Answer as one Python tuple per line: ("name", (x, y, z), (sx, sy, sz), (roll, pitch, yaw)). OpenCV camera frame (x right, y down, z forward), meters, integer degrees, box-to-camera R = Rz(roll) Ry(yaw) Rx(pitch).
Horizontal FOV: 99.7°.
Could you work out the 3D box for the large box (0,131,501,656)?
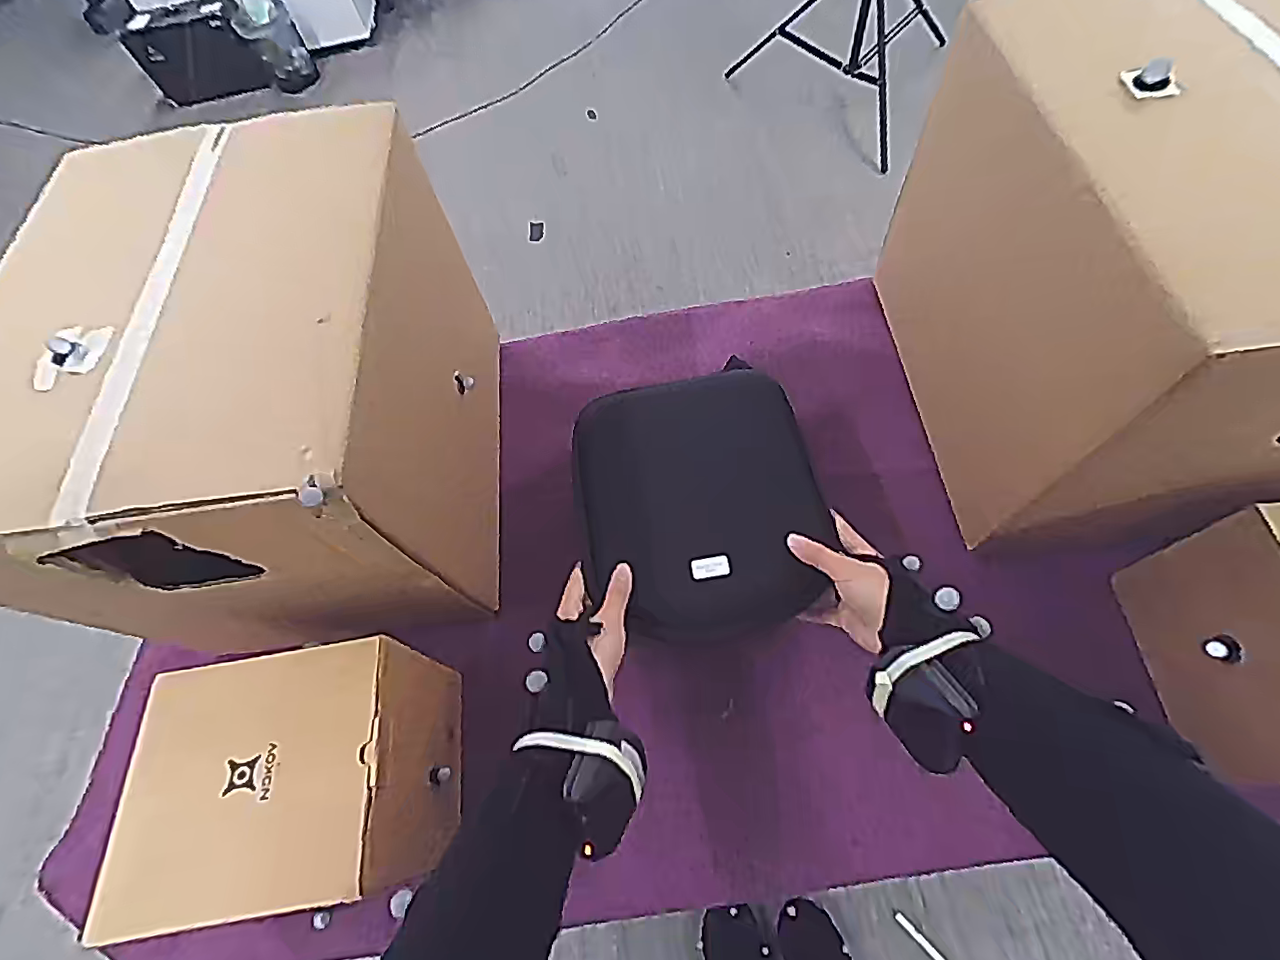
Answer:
("large box", (-0.340, -0.066, 0.553), (0.320, 0.320, 0.408), (-9, 64, 1))
